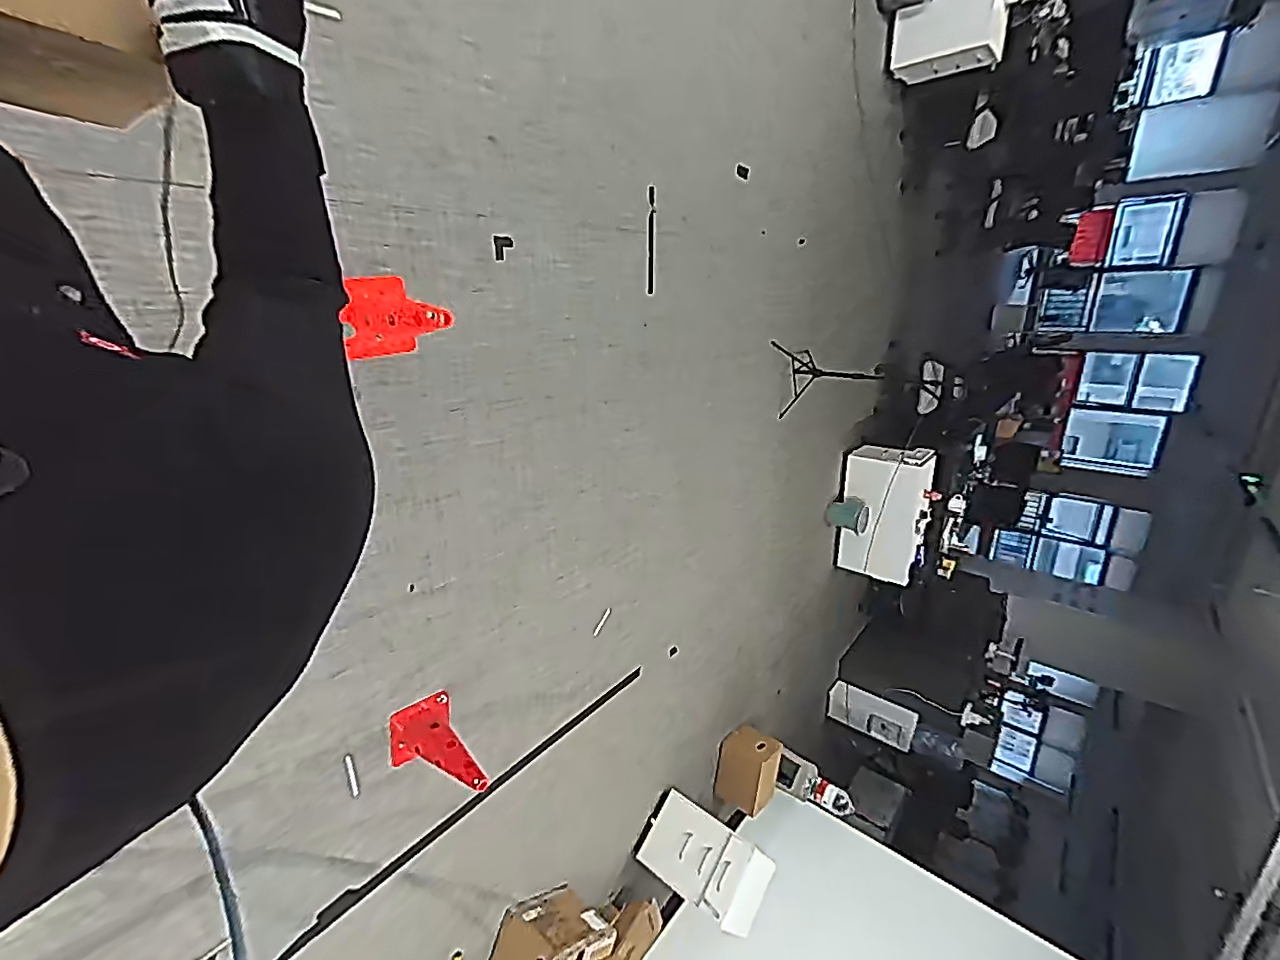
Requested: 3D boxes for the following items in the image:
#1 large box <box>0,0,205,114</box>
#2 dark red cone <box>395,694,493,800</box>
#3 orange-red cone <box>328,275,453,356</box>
[{"bbox_3d":[-0.530,-0.437,0.269,0.408,0.320,0.320,-16,118,-49],"label":"large box"},{"bbox_3d":[-0.576,0.851,1.662,0.201,0.394,0.202,-13,111,-47],"label":"dark red cone"},{"bbox_3d":[-0.570,-0.402,1.313,0.198,0.360,0.199,-25,119,-46],"label":"orange-red cone"}]
